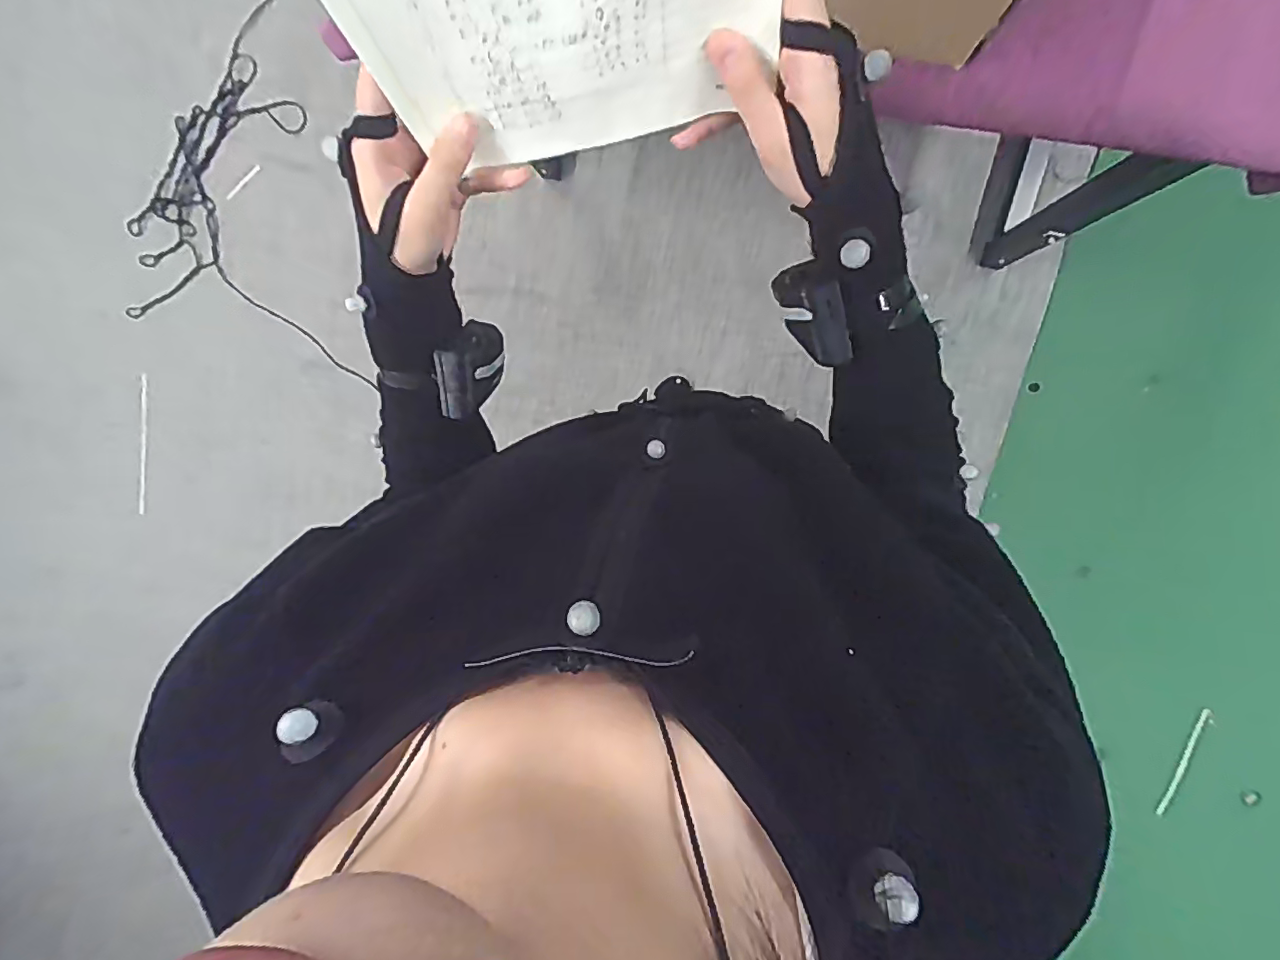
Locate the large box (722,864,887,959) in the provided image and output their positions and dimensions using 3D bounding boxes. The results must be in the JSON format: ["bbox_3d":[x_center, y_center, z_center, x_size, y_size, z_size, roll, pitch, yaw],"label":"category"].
[{"bbox_3d":[0.434,1.324,1.484,0.408,0.320,0.320,-1,99,8],"label":"large box"}]
